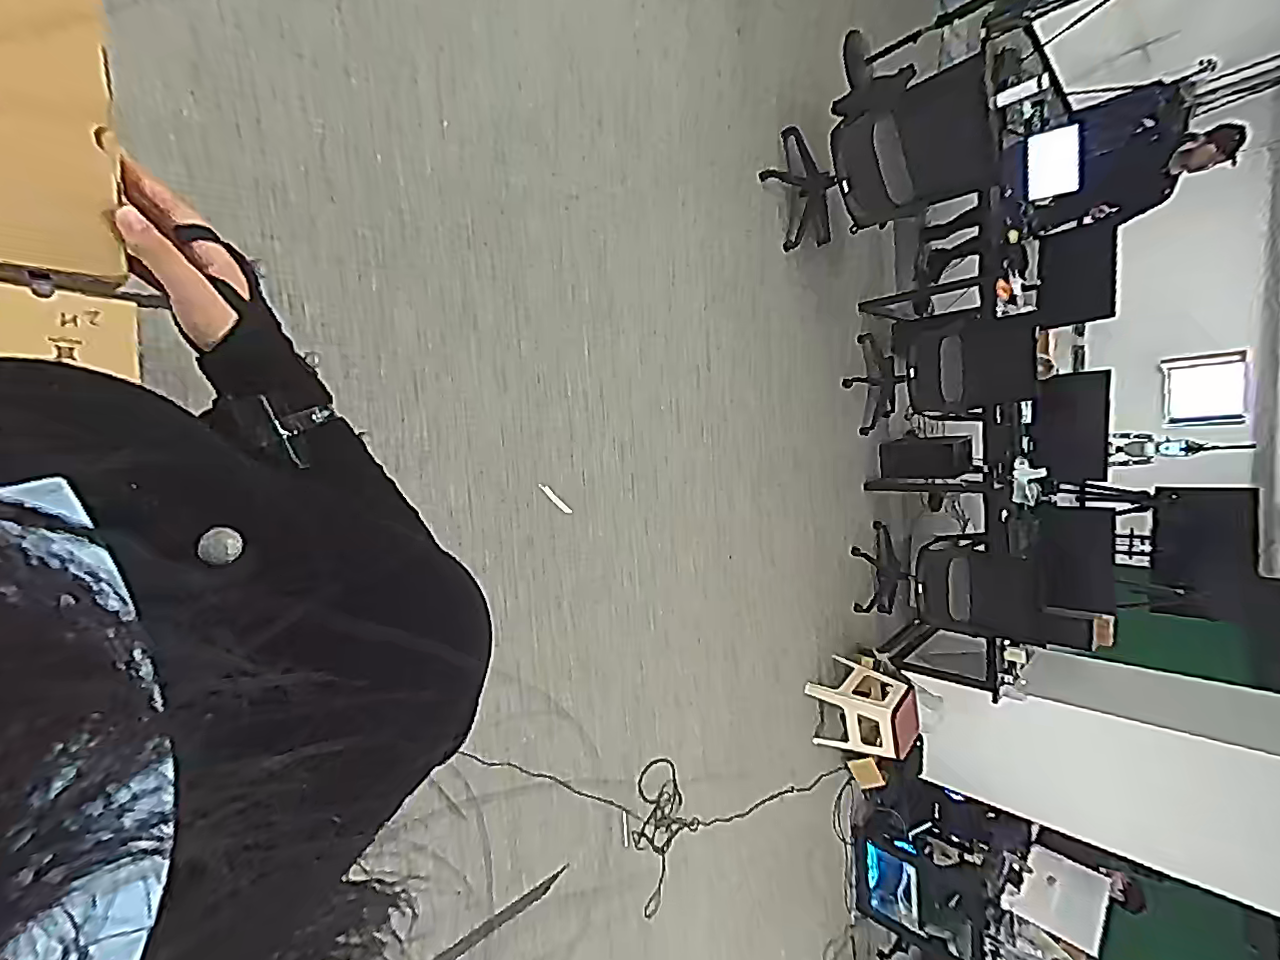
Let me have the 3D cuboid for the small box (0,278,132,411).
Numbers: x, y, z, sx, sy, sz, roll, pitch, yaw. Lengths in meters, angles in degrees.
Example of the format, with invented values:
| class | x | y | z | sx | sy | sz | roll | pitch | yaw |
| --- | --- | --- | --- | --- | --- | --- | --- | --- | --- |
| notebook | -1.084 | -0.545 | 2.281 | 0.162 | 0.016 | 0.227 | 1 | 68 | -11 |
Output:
| class | x | y | z | sx | sy | sz | roll | pitch | yaw |
| --- | --- | --- | --- | --- | --- | --- | --- | --- | --- |
| small box | -0.947 | -0.209 | 0.885 | 0.168 | 0.176 | 0.179 | -2 | 91 | -45 |
